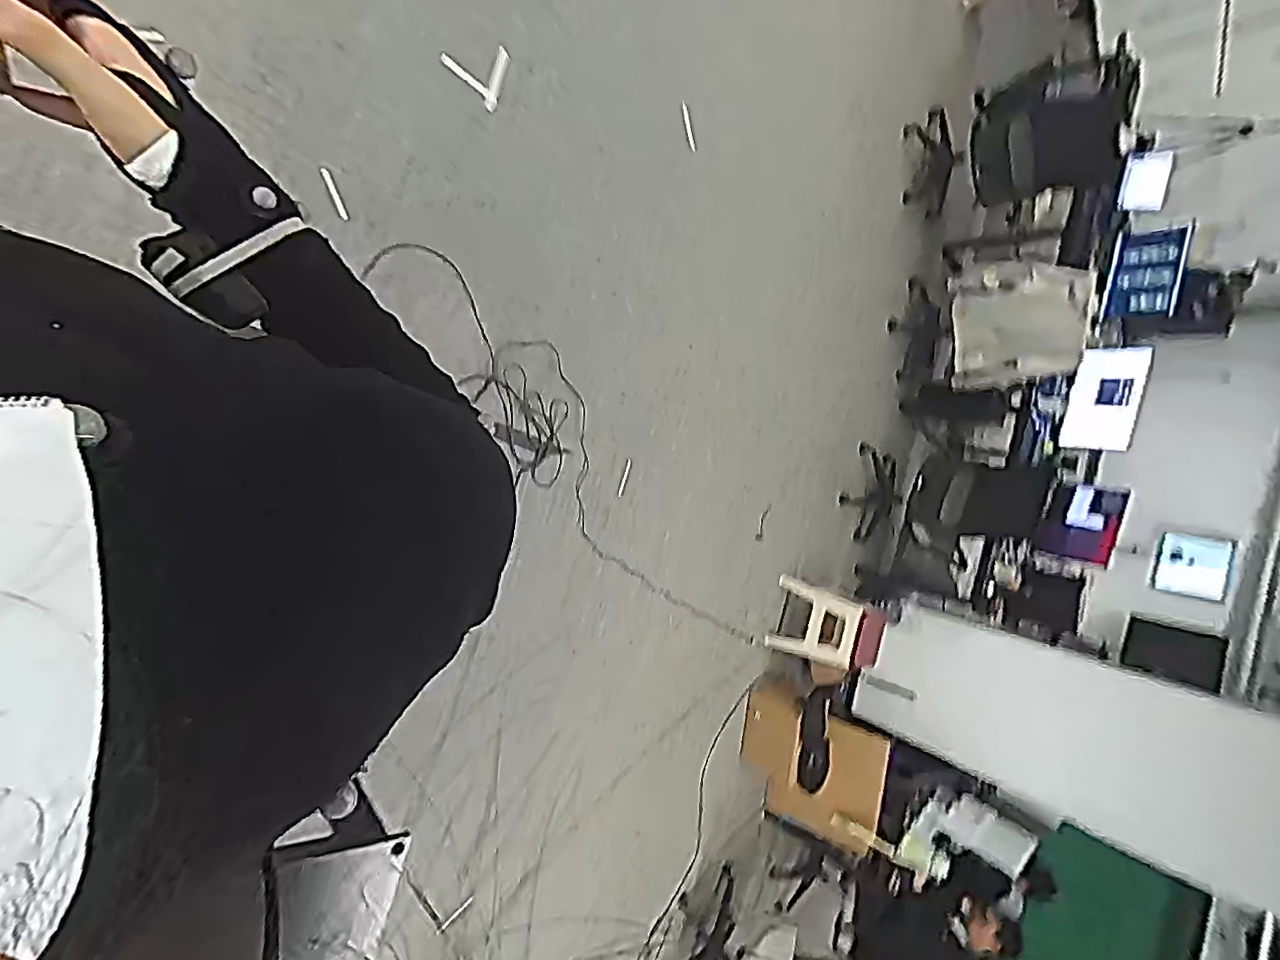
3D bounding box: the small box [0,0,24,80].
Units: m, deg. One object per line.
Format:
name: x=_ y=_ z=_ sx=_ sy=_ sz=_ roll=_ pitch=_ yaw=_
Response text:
small box: x=-0.410 y=-0.292 z=0.226 sx=0.179 sy=0.176 sz=0.168 roll=-14 pitch=121 yaw=-43
